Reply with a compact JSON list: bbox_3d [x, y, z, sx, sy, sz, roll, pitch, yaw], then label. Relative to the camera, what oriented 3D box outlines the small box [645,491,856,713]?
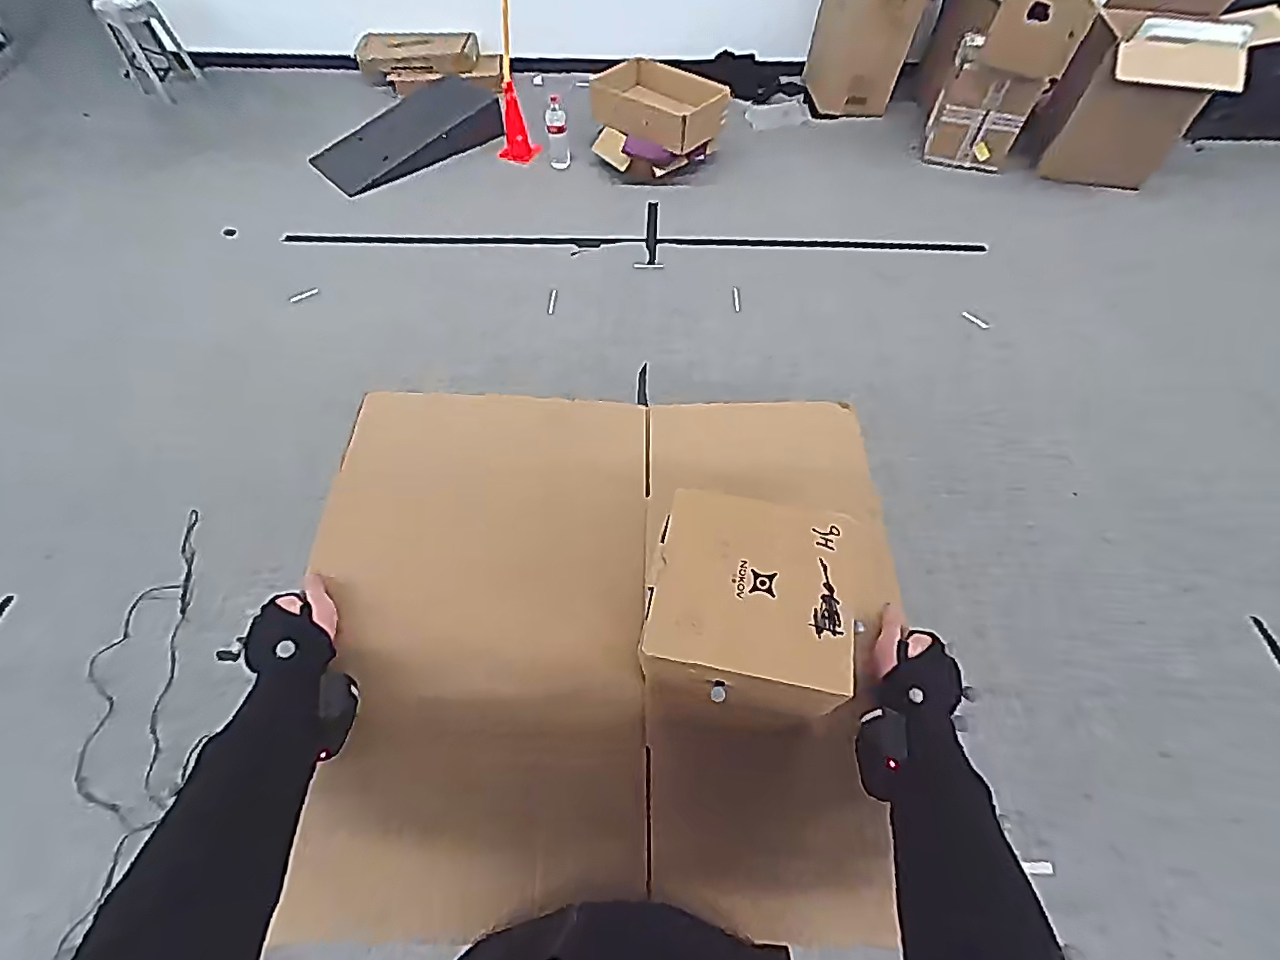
[{"bbox_3d":[0.112,0.131,0.559,0.179,0.176,0.168,8,60,10],"label":"small box"}]
